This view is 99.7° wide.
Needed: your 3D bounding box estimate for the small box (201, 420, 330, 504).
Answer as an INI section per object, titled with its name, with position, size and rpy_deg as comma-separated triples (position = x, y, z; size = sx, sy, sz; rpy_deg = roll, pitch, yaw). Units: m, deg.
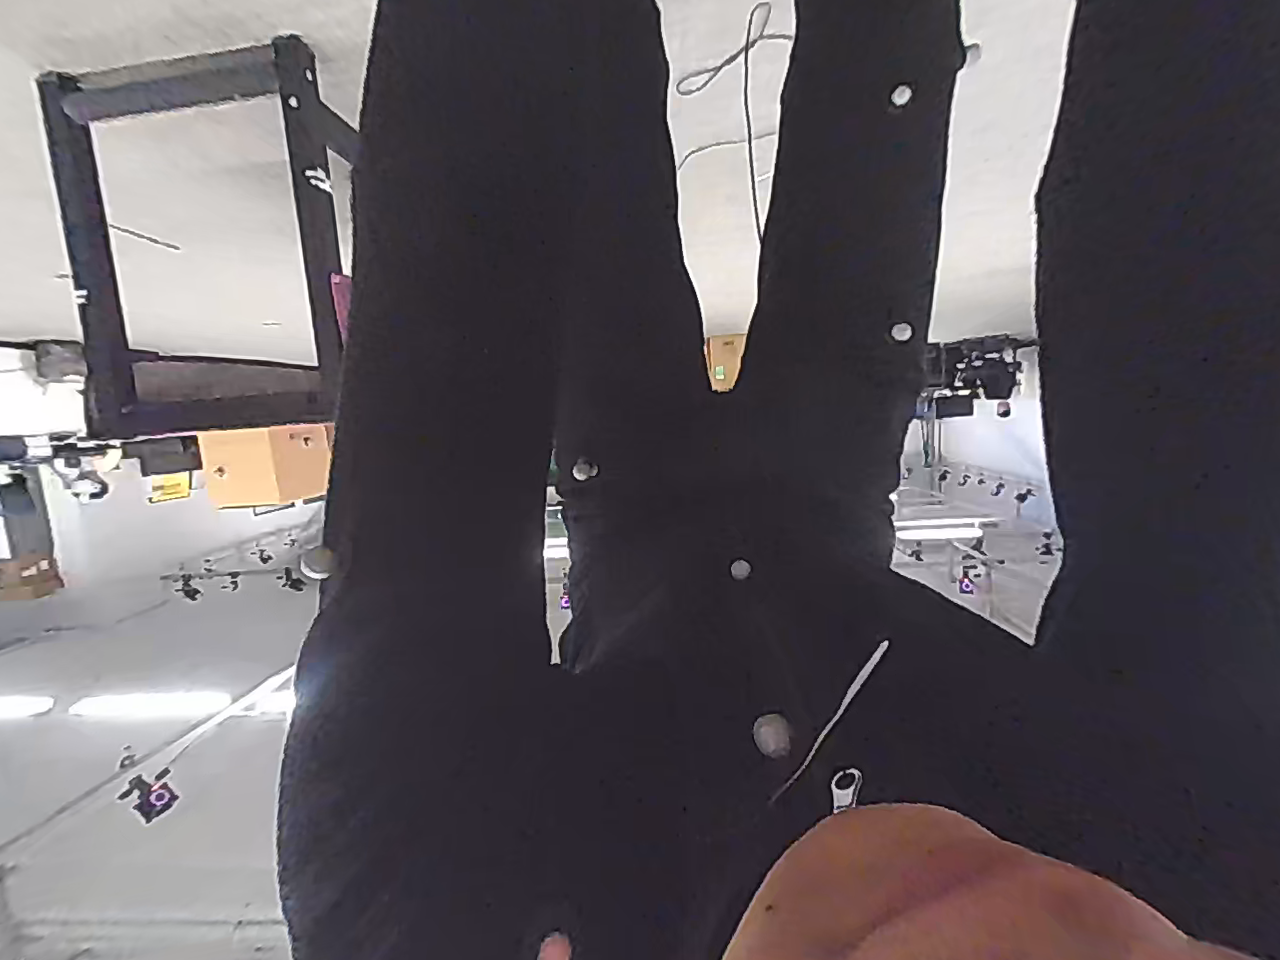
[small box]
position = -0.837, -0.045, 1.211
size = 0.179, 0.176, 0.168
rpy_deg = -3, -170, 9
